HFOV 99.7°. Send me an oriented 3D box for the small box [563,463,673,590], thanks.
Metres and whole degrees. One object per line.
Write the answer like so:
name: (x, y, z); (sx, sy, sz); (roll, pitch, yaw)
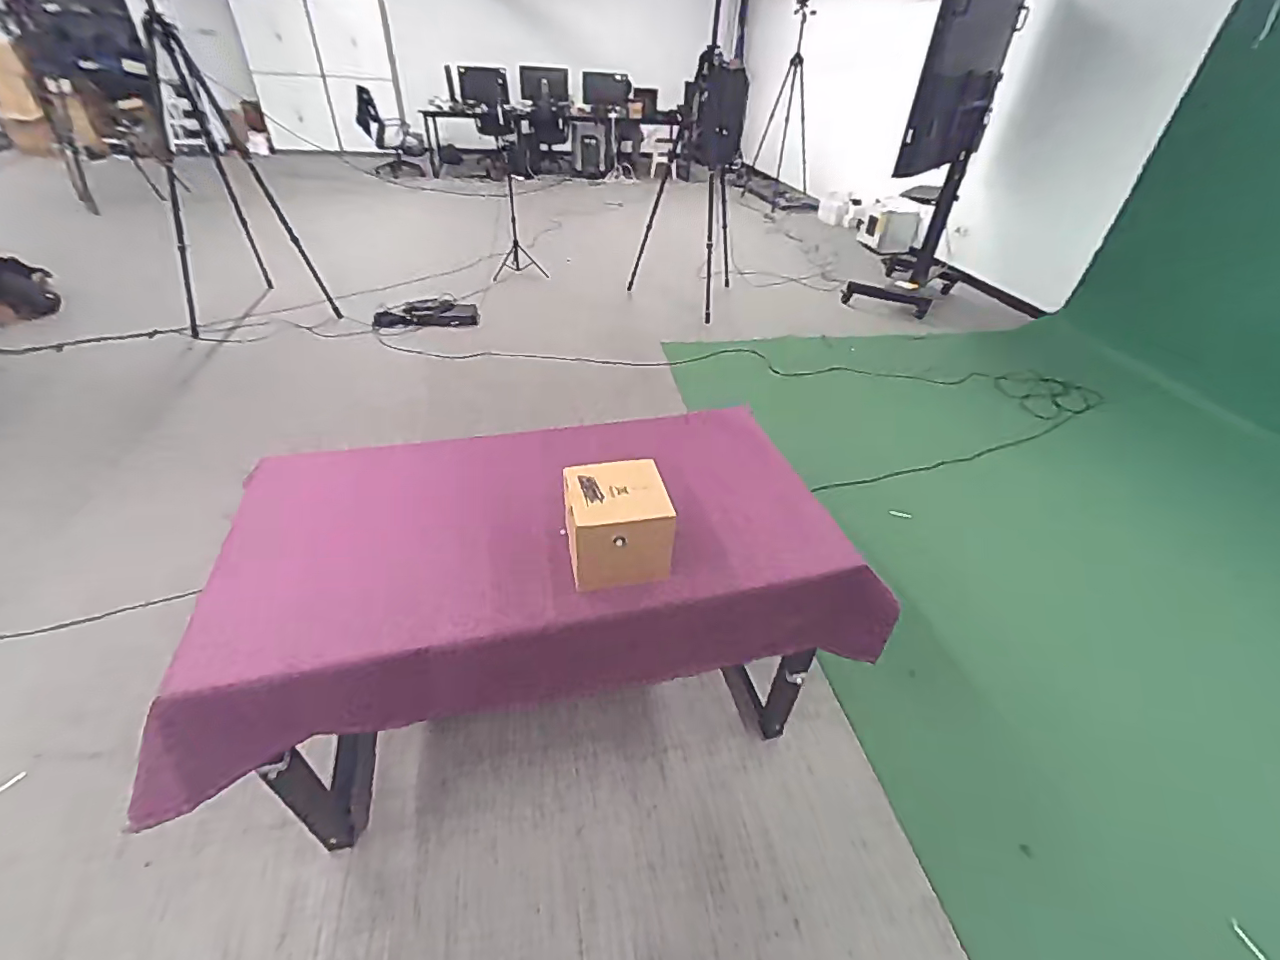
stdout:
small box: (-0.046, 0.088, 1.014); (0.179, 0.176, 0.168); (-5, 40, -12)
